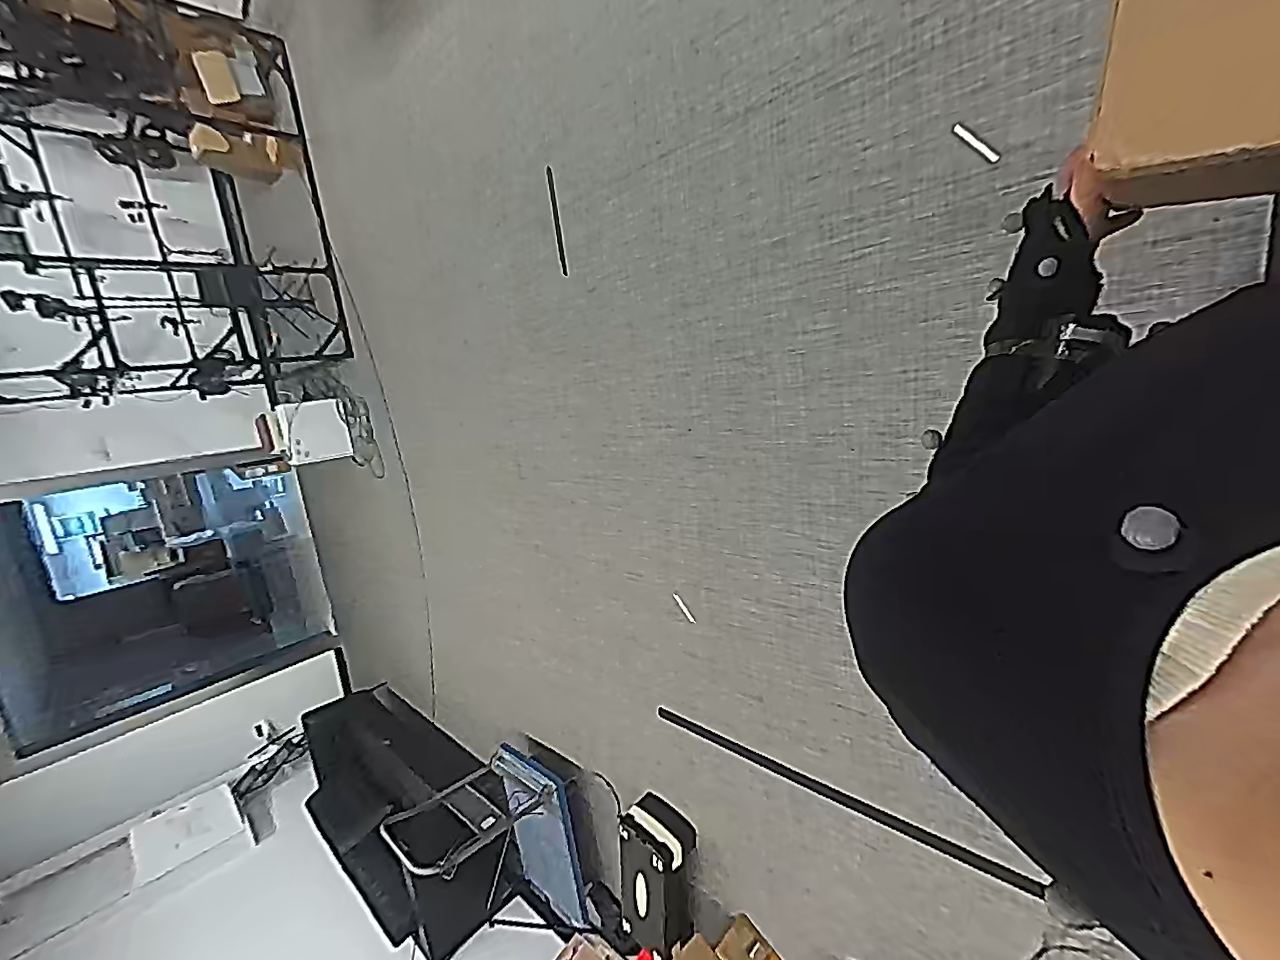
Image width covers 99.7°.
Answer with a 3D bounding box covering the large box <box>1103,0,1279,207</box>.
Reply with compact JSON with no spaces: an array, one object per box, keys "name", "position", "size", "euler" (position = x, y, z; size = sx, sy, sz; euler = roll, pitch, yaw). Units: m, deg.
[{"name":"large box","position":[0.438,-0.304,0.180],"size":[0.408,0.320,0.320],"euler":[11,115,38]}]
